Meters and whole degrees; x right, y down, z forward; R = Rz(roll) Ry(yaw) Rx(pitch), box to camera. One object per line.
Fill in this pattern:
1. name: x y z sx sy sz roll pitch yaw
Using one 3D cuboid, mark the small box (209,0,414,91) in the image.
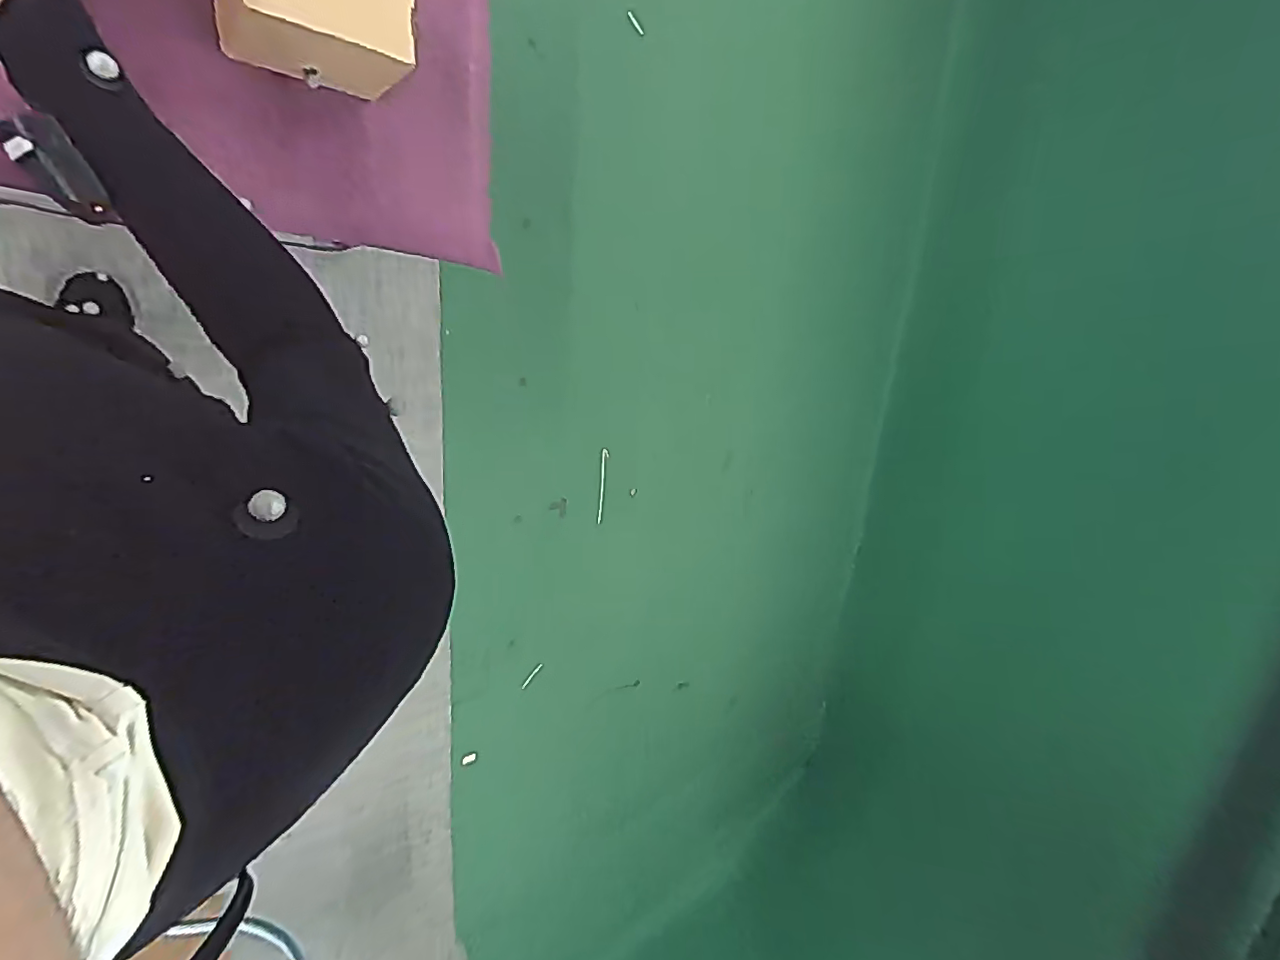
1. small box: -0.385 -0.585 0.629 0.179 0.176 0.168 -11 112 -42
